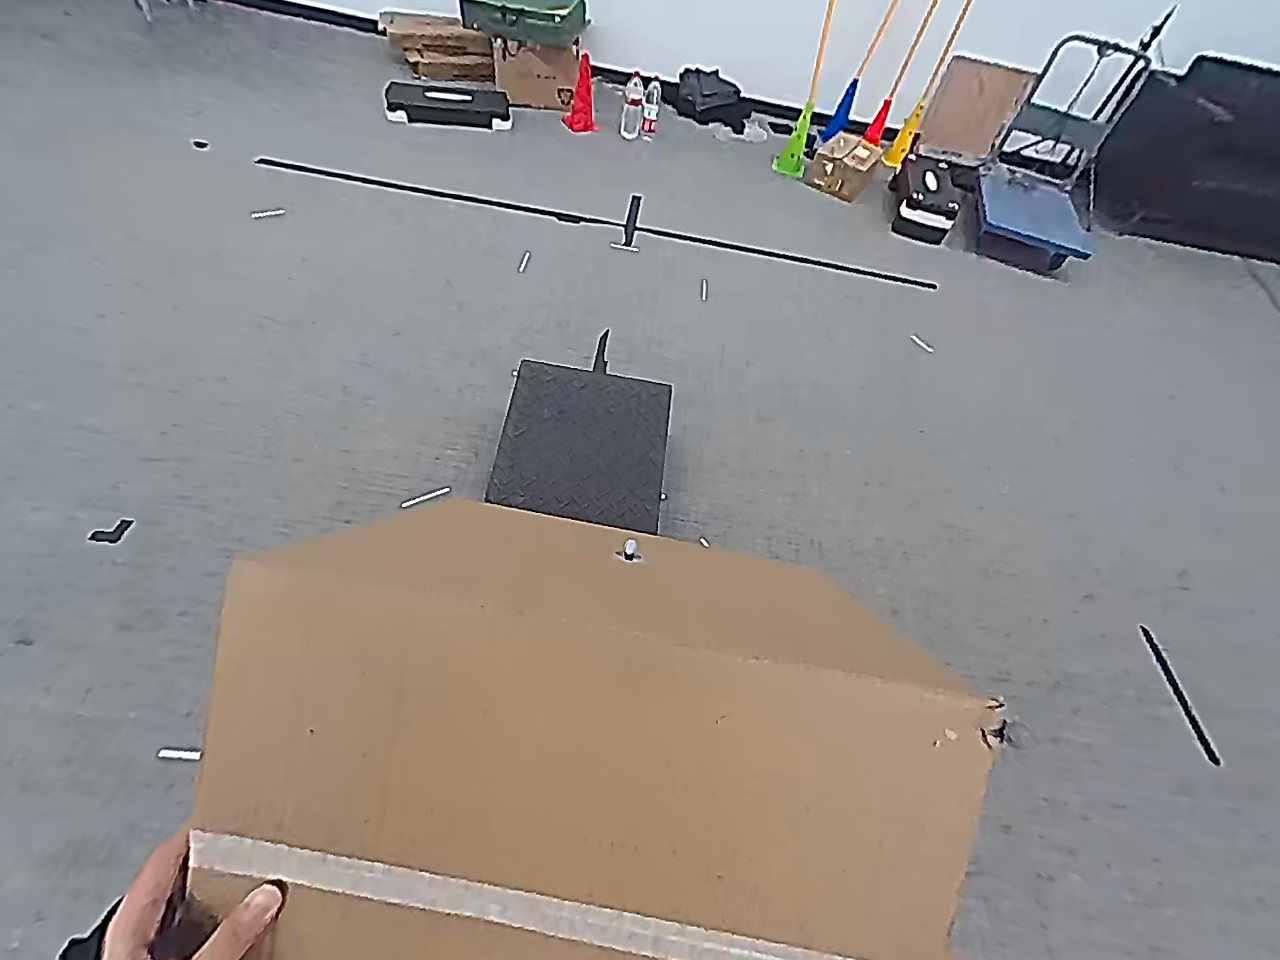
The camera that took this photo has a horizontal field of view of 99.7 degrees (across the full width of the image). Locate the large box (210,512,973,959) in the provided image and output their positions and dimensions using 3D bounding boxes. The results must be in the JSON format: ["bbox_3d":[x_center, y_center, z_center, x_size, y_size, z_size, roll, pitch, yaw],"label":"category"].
[{"bbox_3d":[-0.037,0.221,0.453,0.408,0.320,0.320,10,95,0],"label":"large box"}]
